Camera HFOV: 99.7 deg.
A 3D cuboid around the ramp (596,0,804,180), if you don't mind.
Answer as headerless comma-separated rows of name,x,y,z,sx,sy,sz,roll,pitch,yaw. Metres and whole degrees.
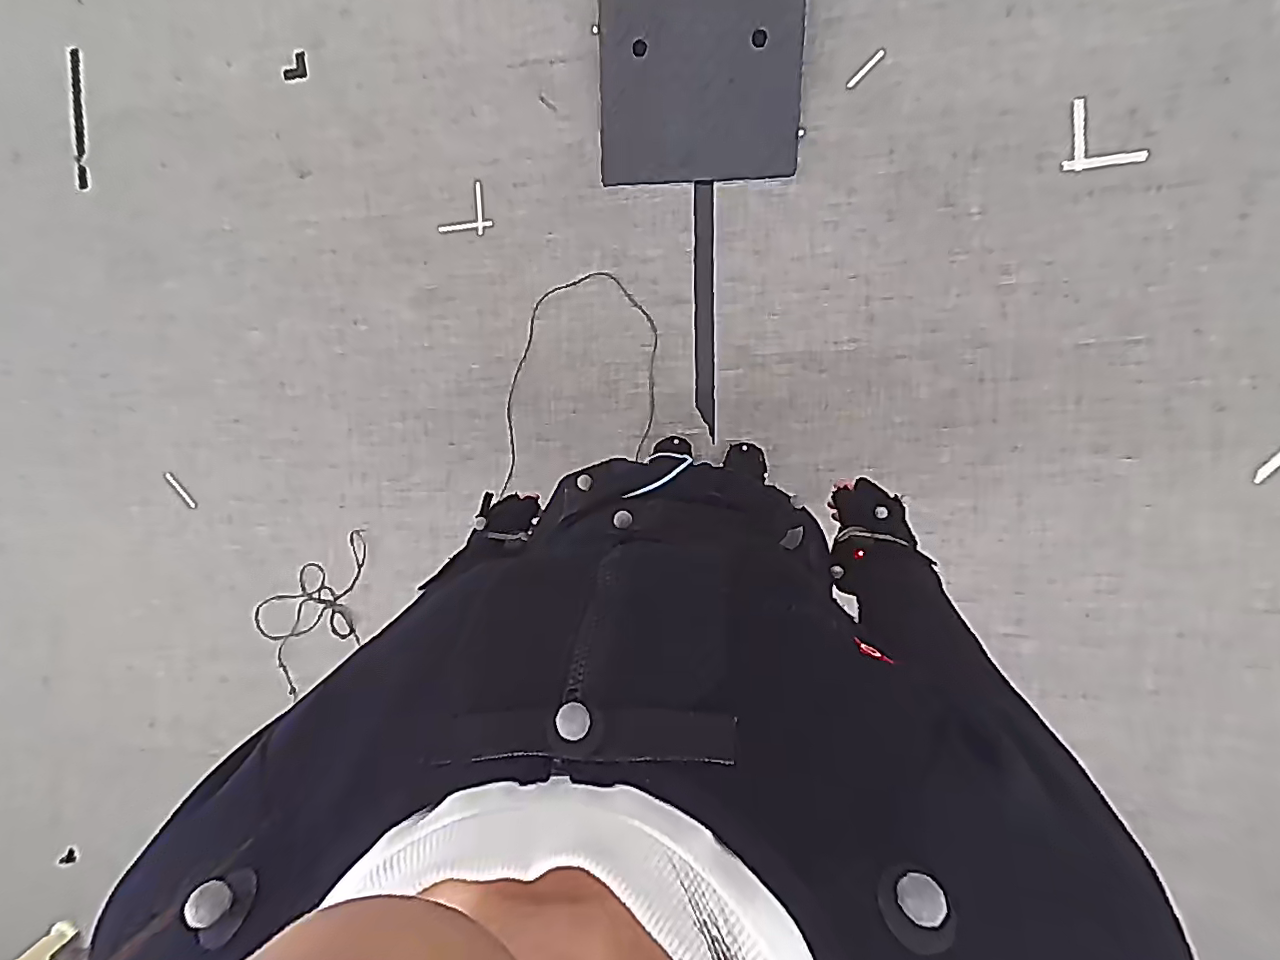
ramp,0.135,-1.253,1.237,0.509,0.206,0.991,0,95,7
